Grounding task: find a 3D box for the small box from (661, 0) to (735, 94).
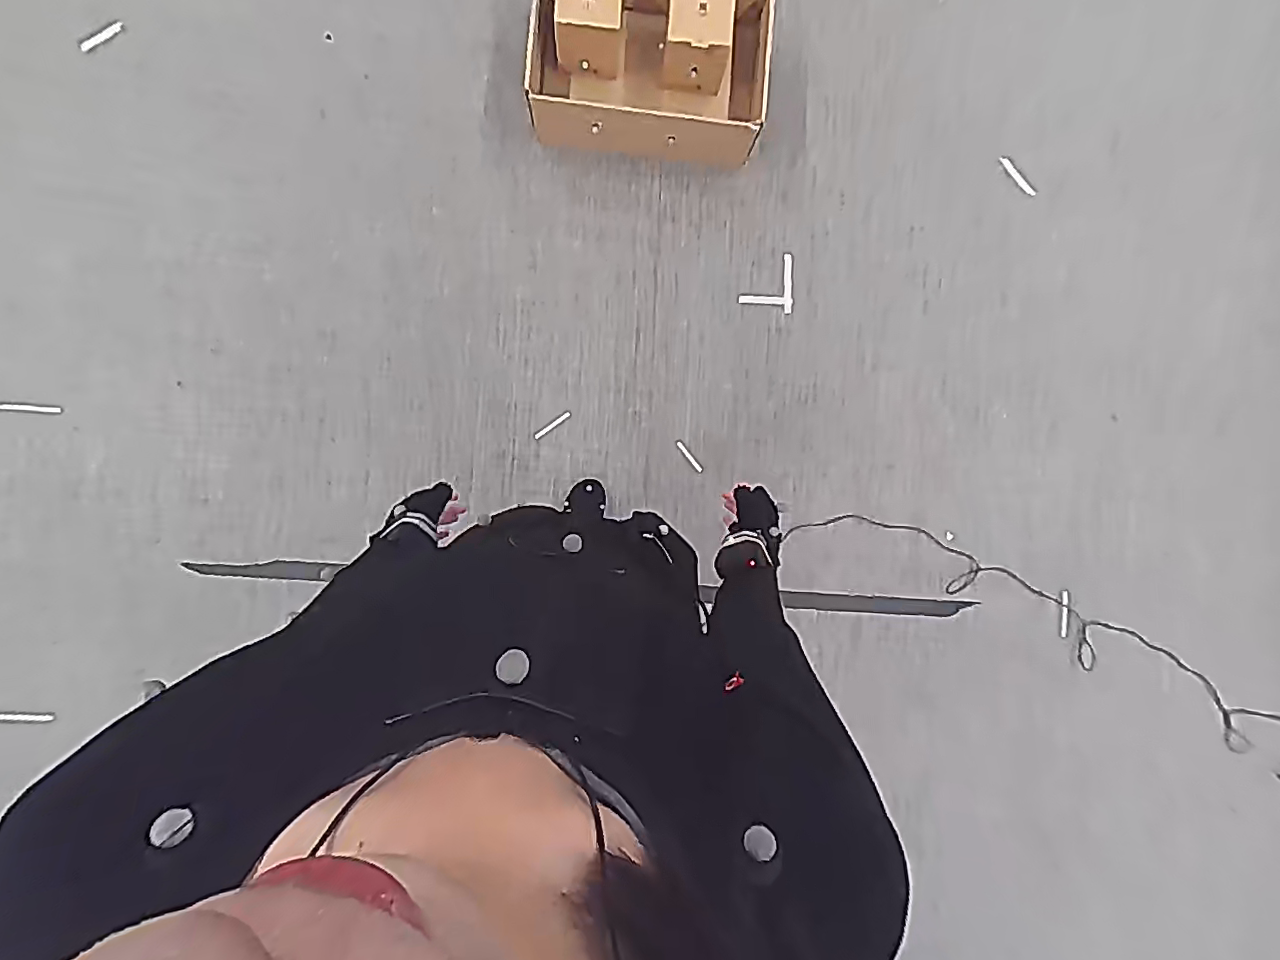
[{"bbox_3d":[0.149,-1.173,1.436,0.168,0.176,0.179,5,90,-4],"label":"small box"}]
